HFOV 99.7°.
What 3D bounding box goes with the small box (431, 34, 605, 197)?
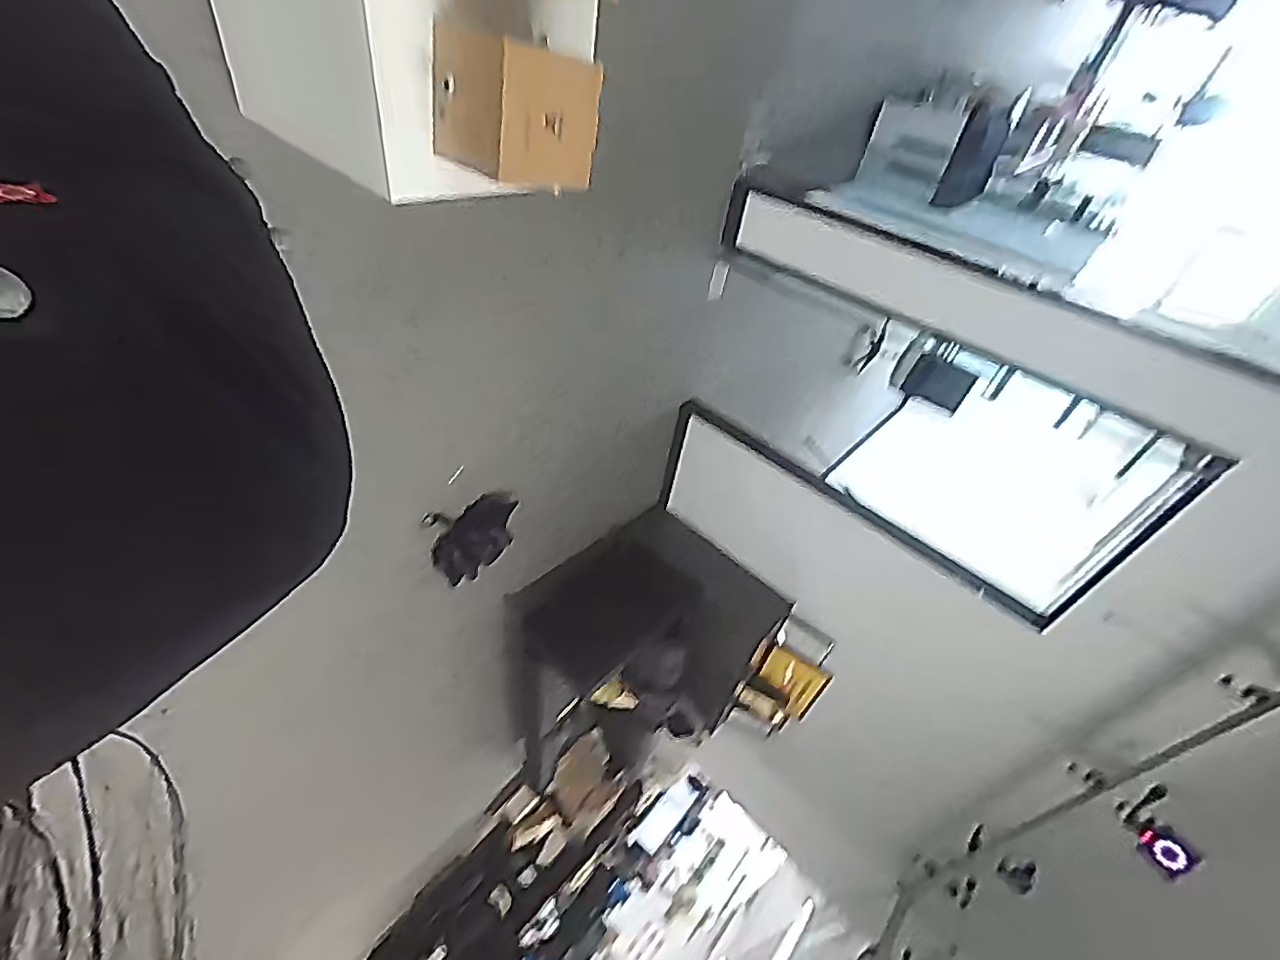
[{"bbox_3d":[-0.179,-0.525,0.788,0.179,0.176,0.168,-26,141,-41],"label":"small box"}]
